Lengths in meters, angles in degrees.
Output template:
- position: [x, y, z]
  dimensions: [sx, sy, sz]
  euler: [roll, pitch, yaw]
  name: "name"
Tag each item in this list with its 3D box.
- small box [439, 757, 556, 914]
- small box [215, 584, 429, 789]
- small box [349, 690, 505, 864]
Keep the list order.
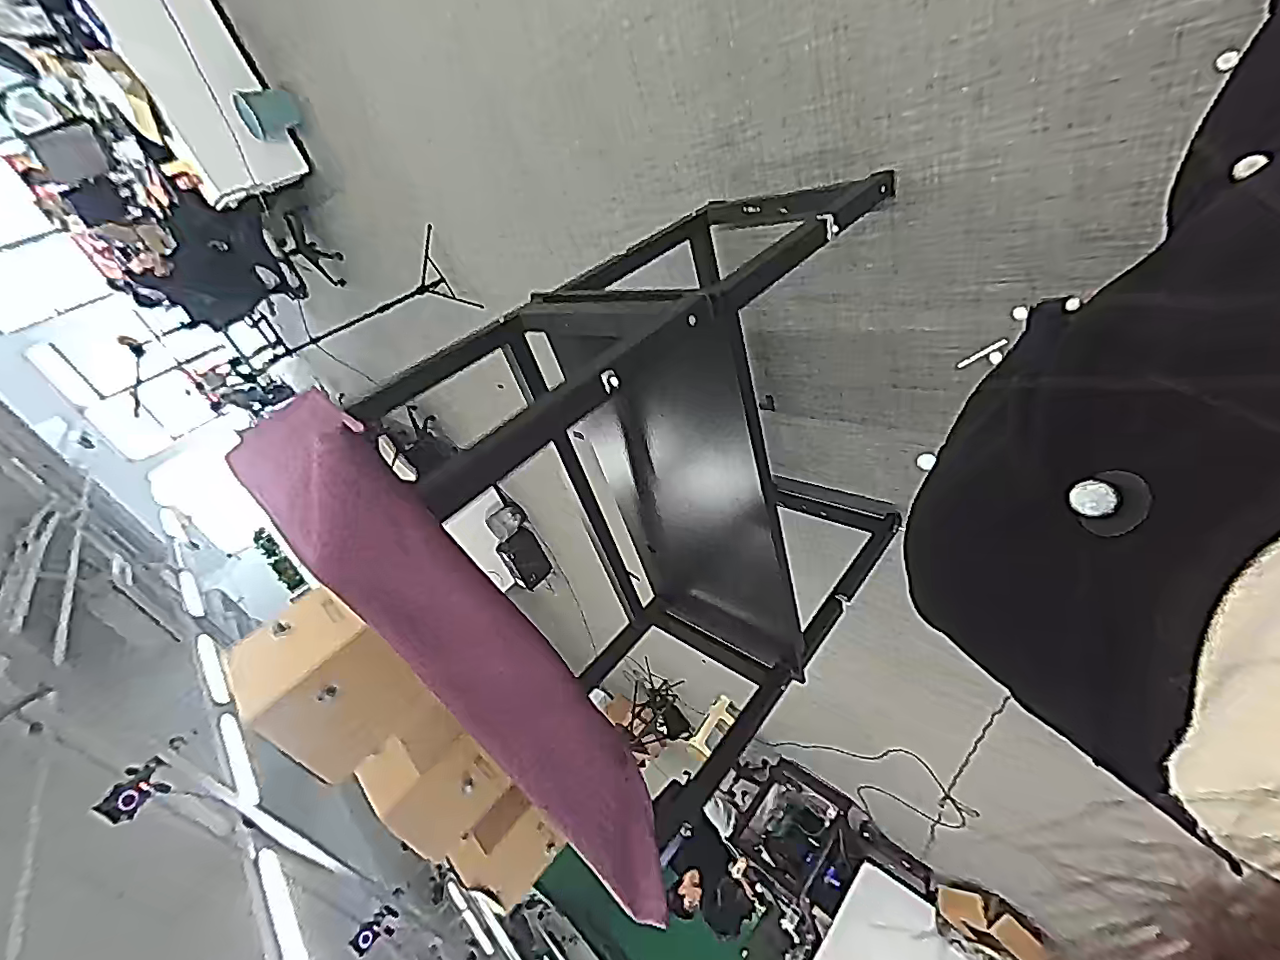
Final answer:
- position: [-0.288, 0.693, 1.073]
  dimensions: [0.179, 0.176, 0.168]
  euler: [18, 139, 46]
  name: "small box"
- position: [-0.436, 0.278, 0.758]
  dimensions: [0.168, 0.176, 0.179]
  euler: [21, 143, 42]
  name: "small box"
- position: [-0.363, 0.492, 0.925]
  dimensions: [0.179, 0.176, 0.168]
  euler: [17, 140, 45]
  name: "small box"
